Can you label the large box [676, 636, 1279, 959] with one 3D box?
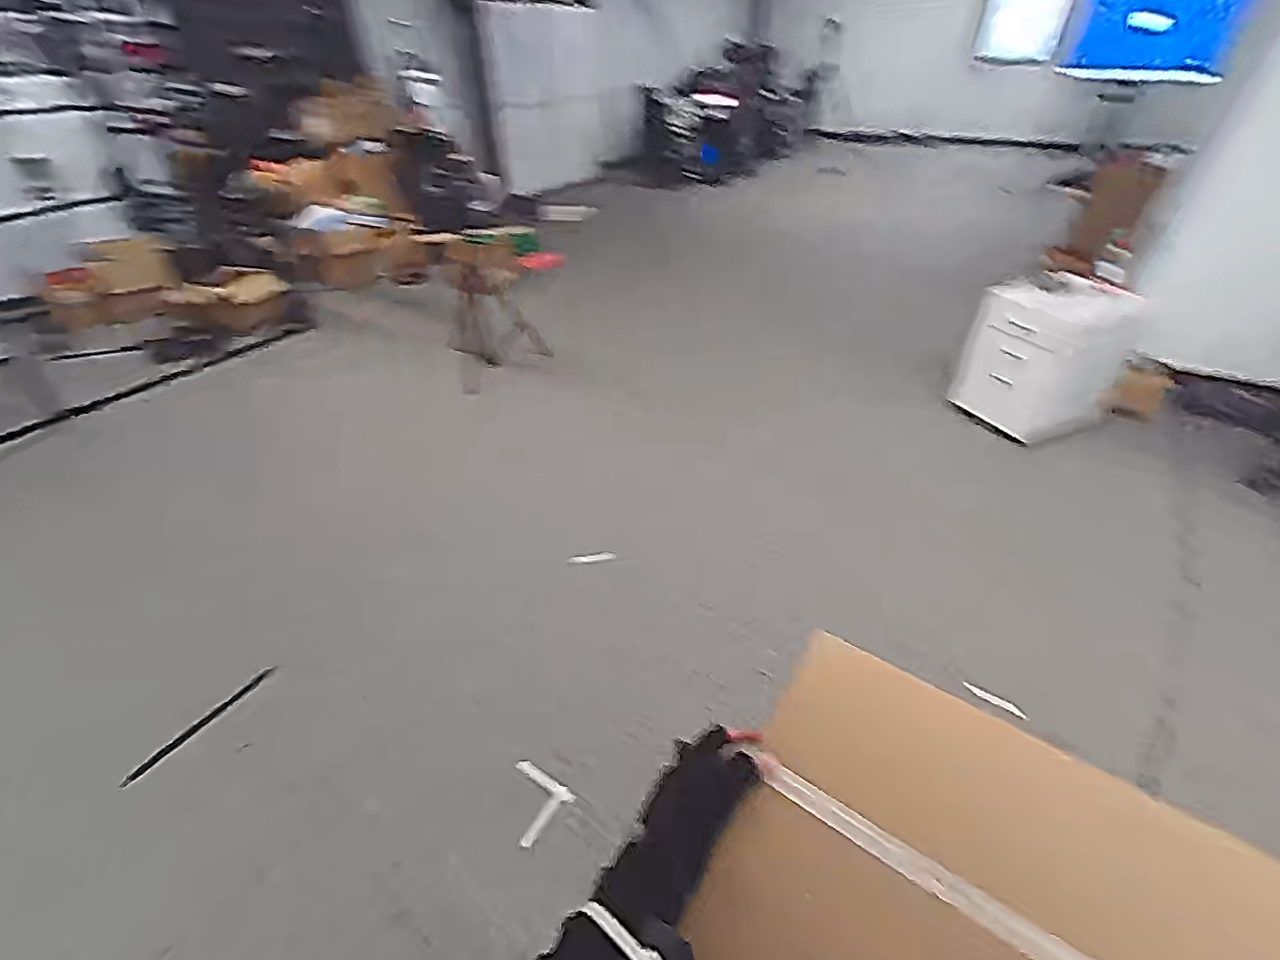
[{"bbox_3d":[0.283,0.437,0.551,0.408,0.320,0.320,24,56,24],"label":"large box"}]
